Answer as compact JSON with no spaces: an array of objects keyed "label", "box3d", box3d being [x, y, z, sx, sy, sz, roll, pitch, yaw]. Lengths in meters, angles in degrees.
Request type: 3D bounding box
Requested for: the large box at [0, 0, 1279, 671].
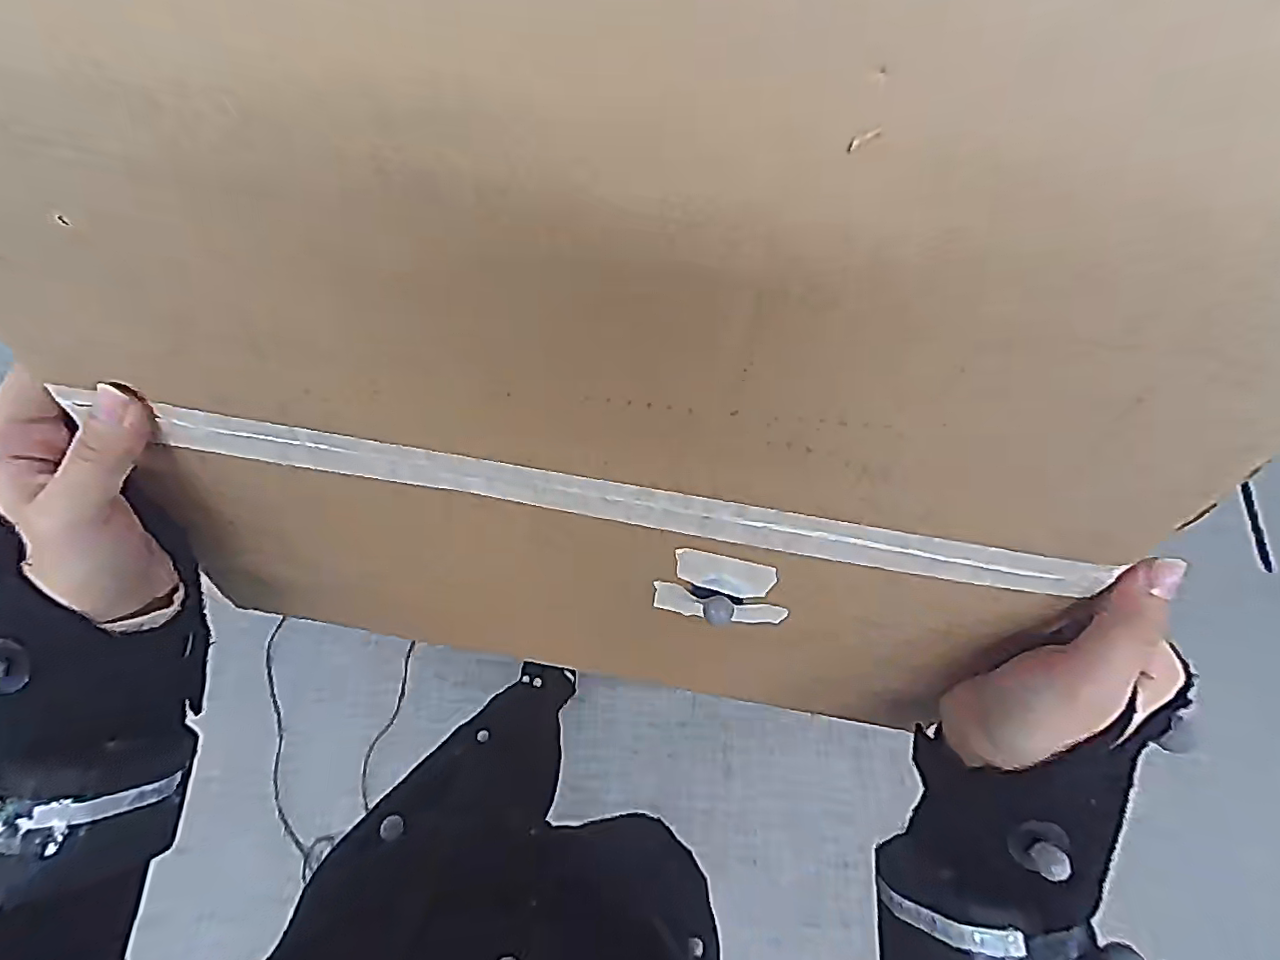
[{"label":"large box","box3d":[0.005,-0.132,0.308,0.408,0.320,0.320,9,46,2]}]
